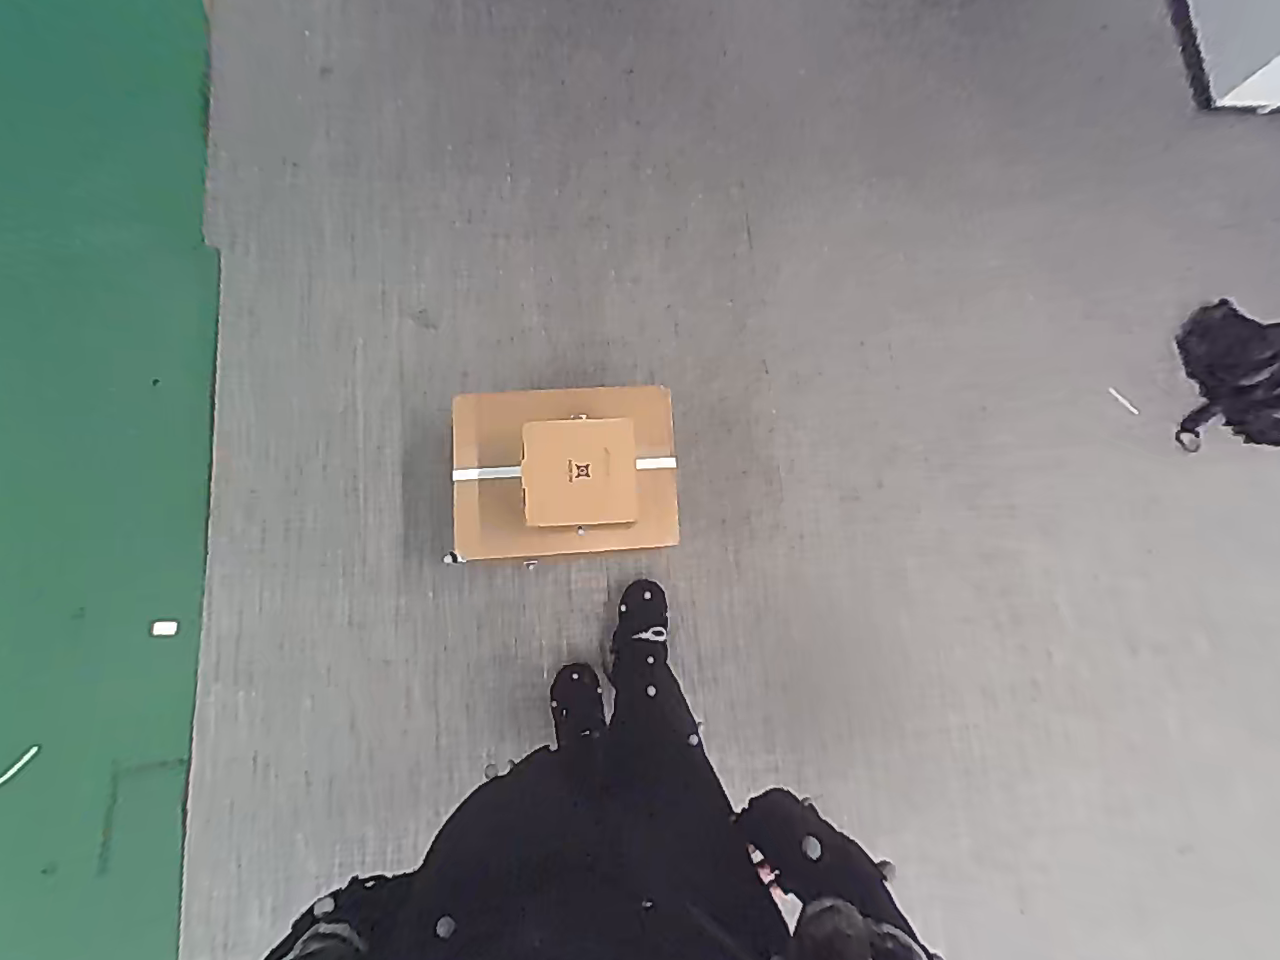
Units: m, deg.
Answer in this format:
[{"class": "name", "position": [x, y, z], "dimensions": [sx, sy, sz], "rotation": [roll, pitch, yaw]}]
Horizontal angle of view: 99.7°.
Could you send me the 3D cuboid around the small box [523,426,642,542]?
[{"class": "small box", "position": [-0.095, 0.014, 0.908], "dimensions": [0.179, 0.176, 0.168], "rotation": [-4, 81, -5]}]
